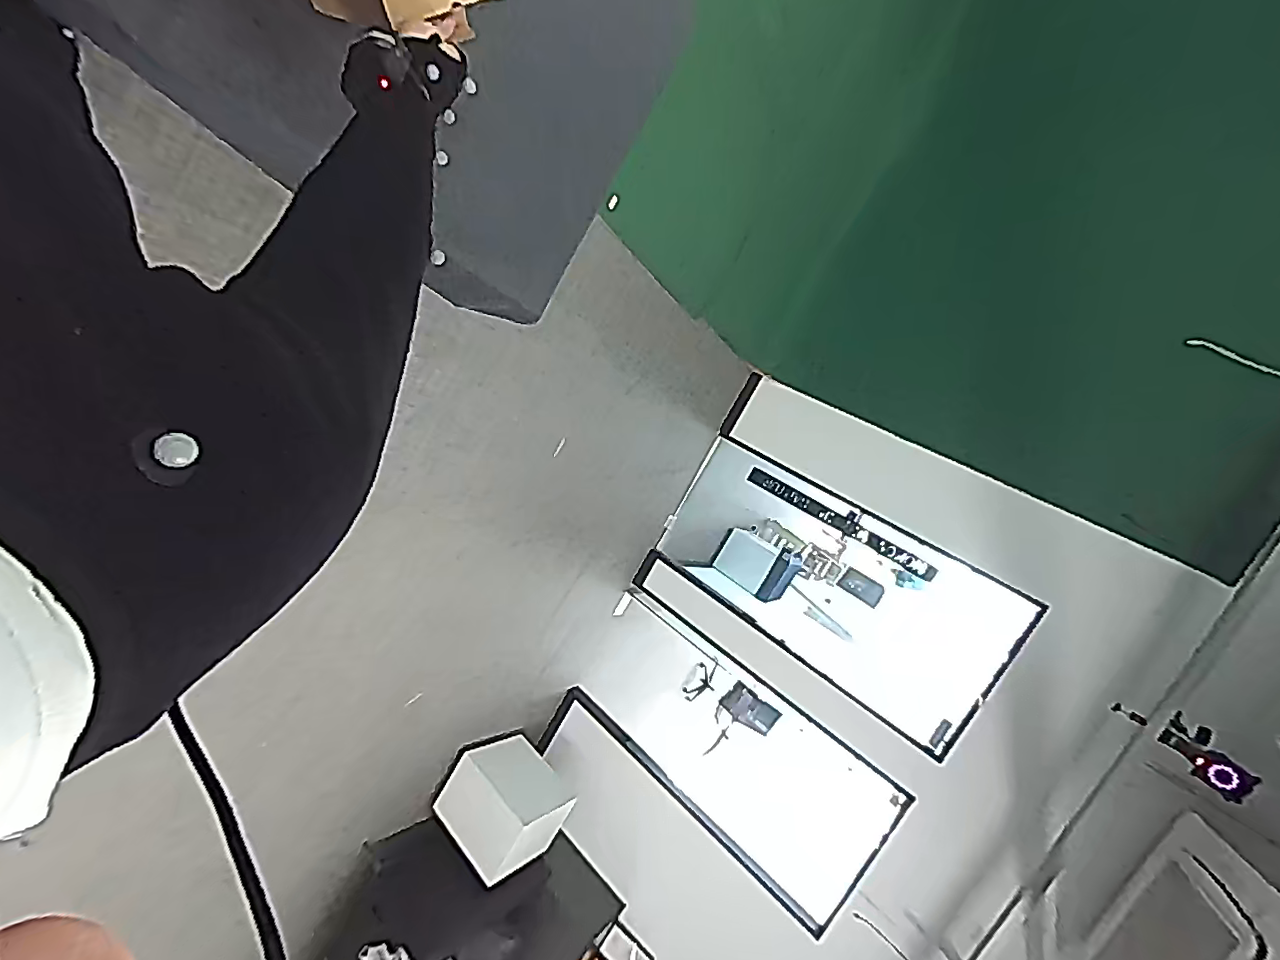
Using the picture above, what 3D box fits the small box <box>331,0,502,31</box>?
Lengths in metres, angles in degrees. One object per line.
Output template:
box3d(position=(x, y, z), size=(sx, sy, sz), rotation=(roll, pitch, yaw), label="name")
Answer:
box3d(position=(-0.266, -0.605, 0.554), size=(0.168, 0.176, 0.179), rotation=(-40, 152, -24), label="small box")
